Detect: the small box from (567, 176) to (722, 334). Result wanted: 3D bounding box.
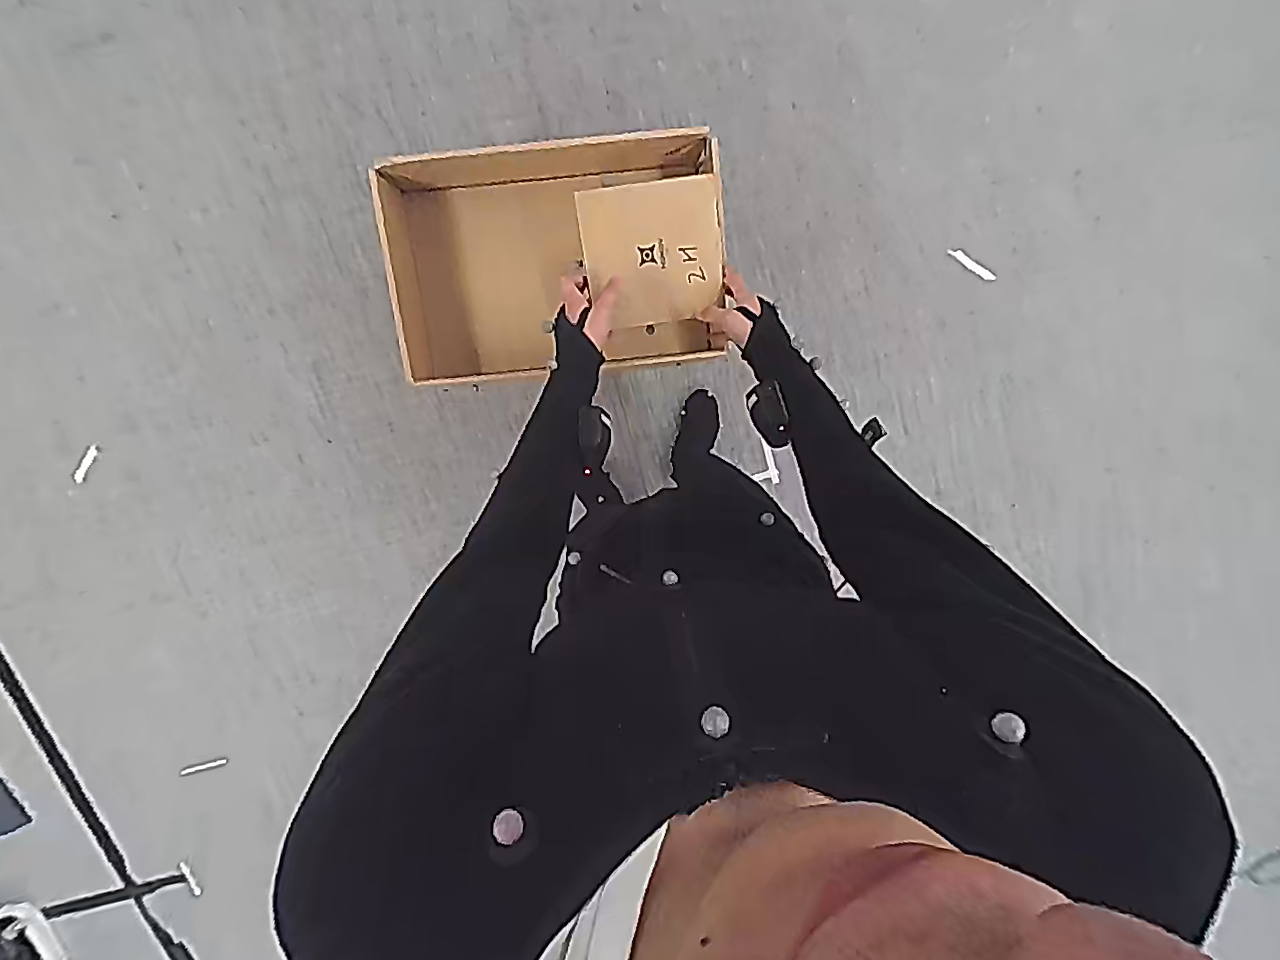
[{"bbox_3d":[0.002,-0.297,0.736,0.179,0.176,0.168,-10,111,-4],"label":"small box"}]
